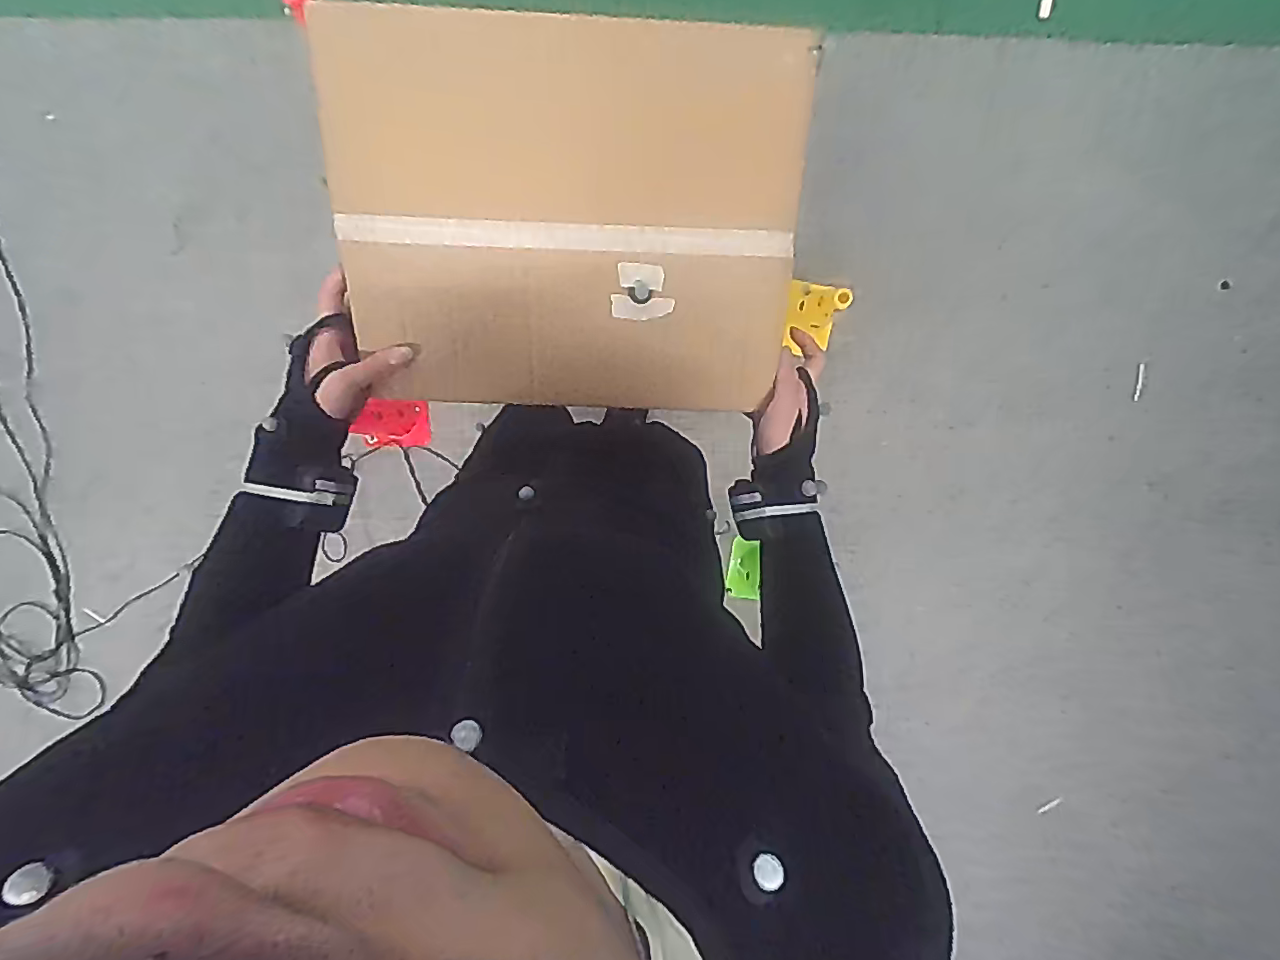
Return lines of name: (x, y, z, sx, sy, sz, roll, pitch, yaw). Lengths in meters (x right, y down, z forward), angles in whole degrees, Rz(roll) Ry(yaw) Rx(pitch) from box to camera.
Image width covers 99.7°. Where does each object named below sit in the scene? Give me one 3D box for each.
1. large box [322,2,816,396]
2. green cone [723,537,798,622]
large box: (-0.064, -0.285, 0.625, 0.408, 0.320, 0.320, 1, 113, -2)
green cone: (0.369, 0.308, 1.500, 0.200, 0.368, 0.202, 7, 99, -2)
